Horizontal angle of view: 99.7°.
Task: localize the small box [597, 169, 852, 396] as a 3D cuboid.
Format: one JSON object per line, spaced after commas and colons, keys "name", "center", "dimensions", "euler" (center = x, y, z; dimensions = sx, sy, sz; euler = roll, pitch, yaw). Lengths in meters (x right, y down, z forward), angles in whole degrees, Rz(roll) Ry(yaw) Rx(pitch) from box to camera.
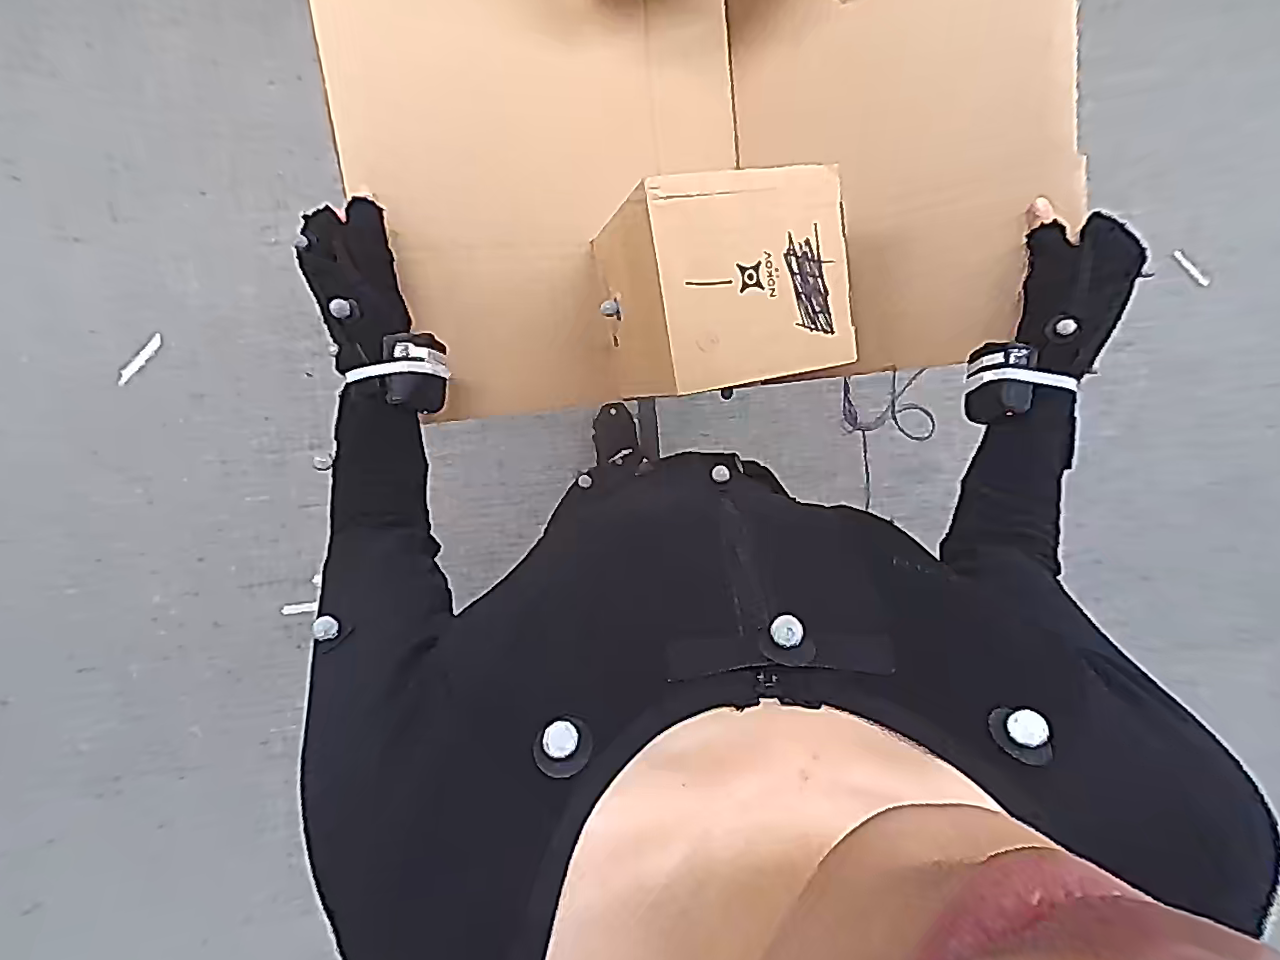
{"name": "small box", "center": [0.072, -0.176, 0.520], "dimensions": [0.179, 0.176, 0.168], "euler": [-13, 101, -15]}
